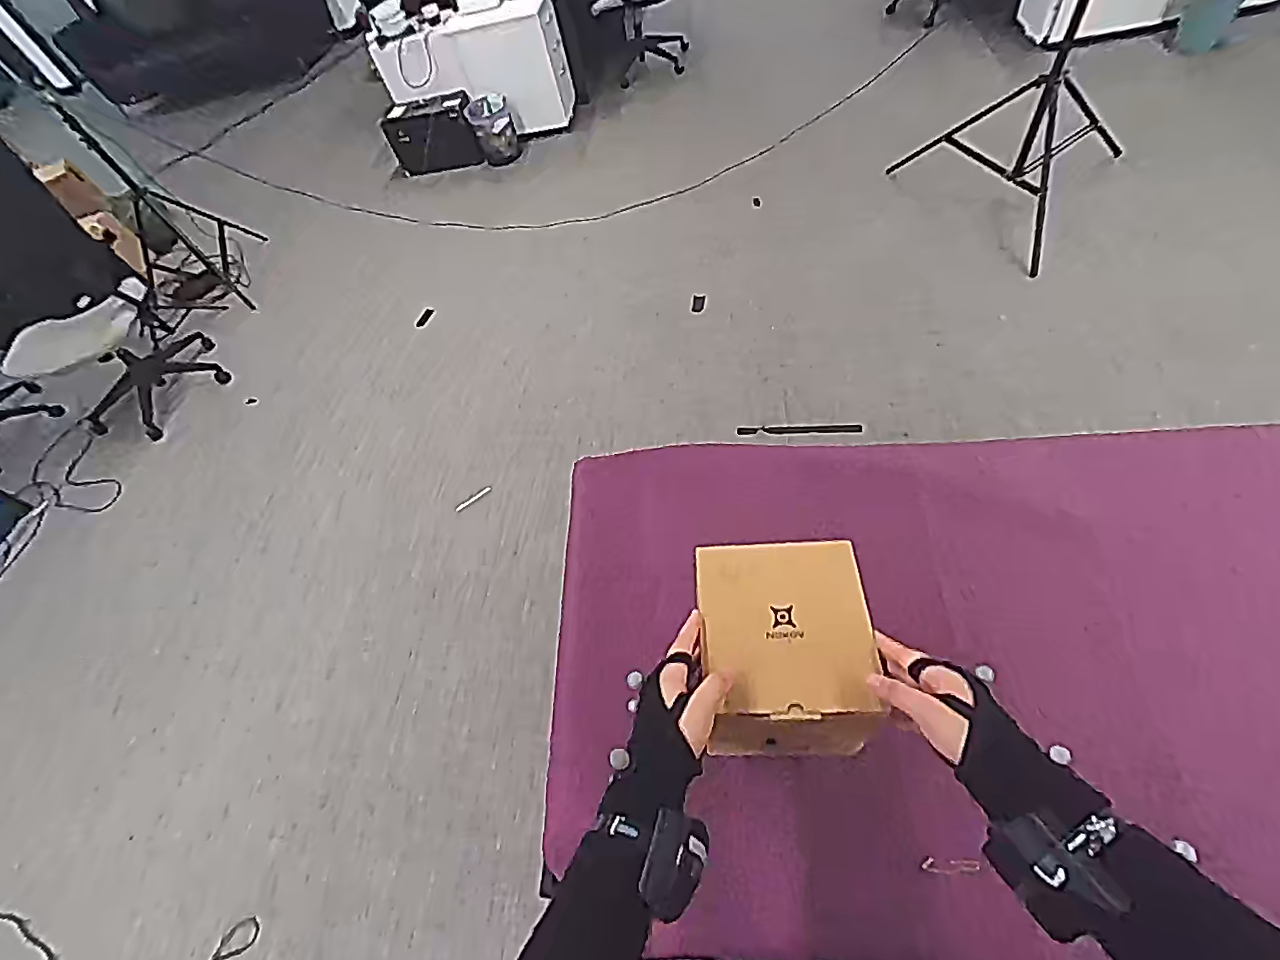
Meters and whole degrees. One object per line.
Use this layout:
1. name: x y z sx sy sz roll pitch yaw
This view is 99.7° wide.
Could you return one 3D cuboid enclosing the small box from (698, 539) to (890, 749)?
1. small box: 0.149 0.183 0.592 0.168 0.176 0.179 -4 54 6
